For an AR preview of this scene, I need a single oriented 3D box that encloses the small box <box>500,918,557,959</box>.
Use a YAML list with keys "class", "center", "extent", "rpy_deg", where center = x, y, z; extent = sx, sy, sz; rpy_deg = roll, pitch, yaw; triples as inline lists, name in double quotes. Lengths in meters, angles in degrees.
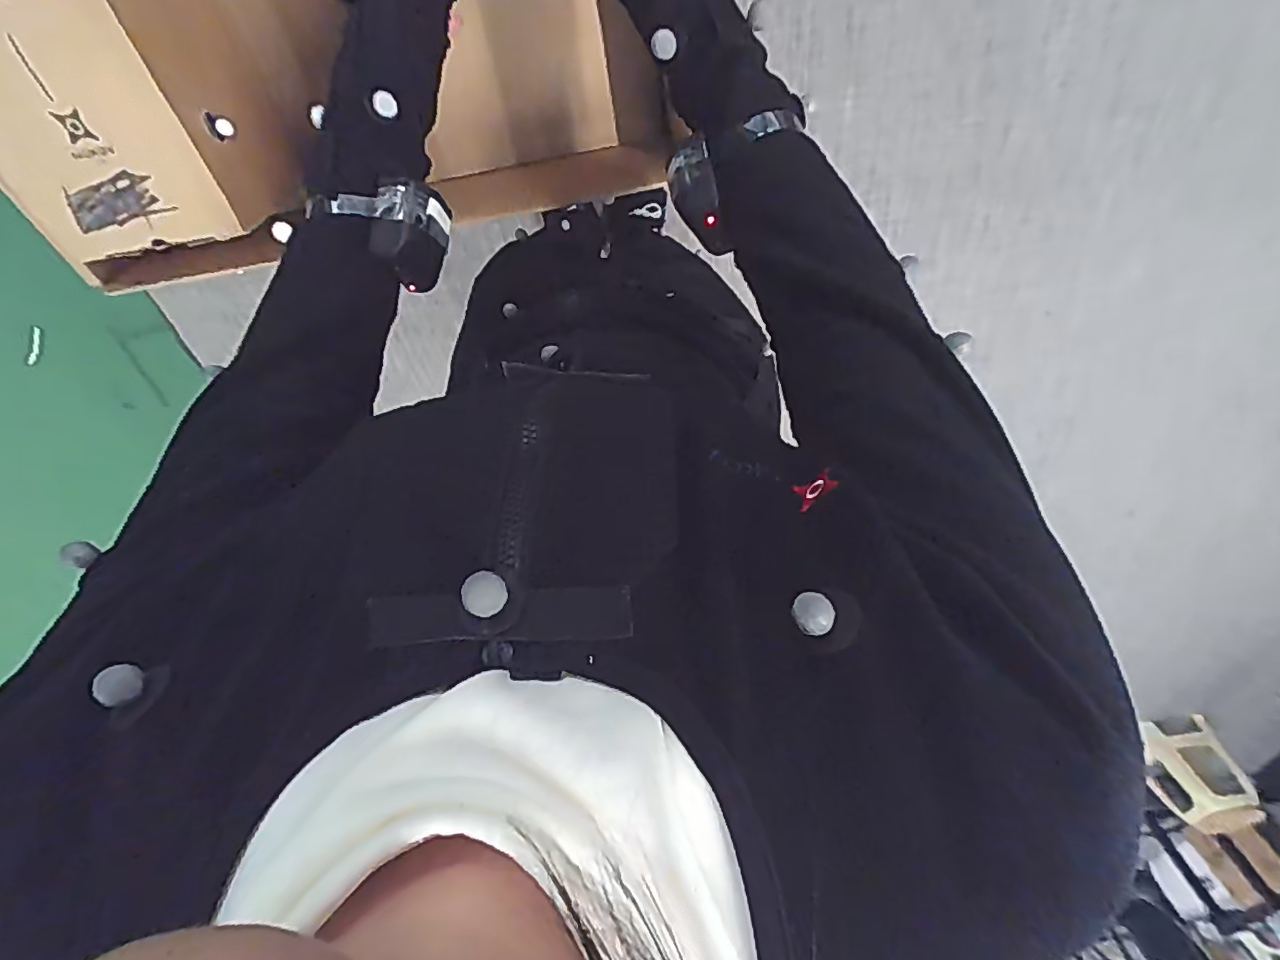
- class: "small box"
  center: [-0.399, 1.718, 1.963]
  extent: [0.168, 0.176, 0.179]
  rpy_deg: [-10, 129, 2]
